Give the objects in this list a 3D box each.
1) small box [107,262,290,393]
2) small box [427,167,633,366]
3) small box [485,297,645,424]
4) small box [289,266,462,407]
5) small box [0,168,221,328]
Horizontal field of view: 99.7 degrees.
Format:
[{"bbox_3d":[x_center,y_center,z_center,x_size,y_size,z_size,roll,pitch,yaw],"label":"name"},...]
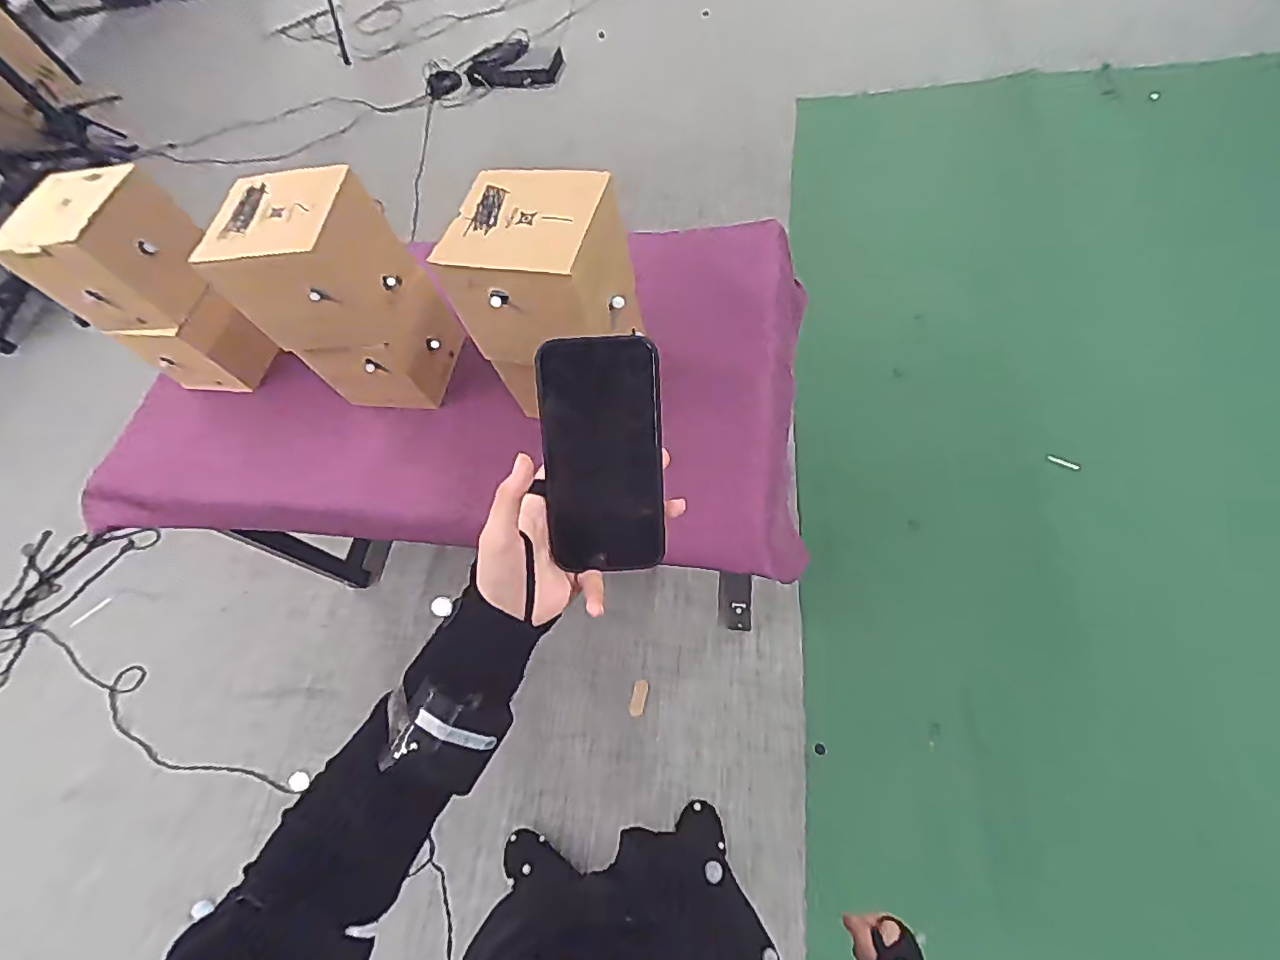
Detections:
[{"bbox_3d":[-0.807,-0.279,1.011,0.168,0.176,0.179,4,64,13],"label":"small box"},{"bbox_3d":[-0.123,-0.263,0.682,0.179,0.176,0.168,9,65,15],"label":"small box"},{"bbox_3d":[-0.101,-0.202,0.834,0.179,0.176,0.168,9,65,16],"label":"small box"},{"bbox_3d":[-0.430,-0.237,0.914,0.179,0.176,0.168,4,64,13],"label":"small box"},{"bbox_3d":[-0.834,-0.361,0.871,0.168,0.176,0.179,0,64,10],"label":"small box"}]
